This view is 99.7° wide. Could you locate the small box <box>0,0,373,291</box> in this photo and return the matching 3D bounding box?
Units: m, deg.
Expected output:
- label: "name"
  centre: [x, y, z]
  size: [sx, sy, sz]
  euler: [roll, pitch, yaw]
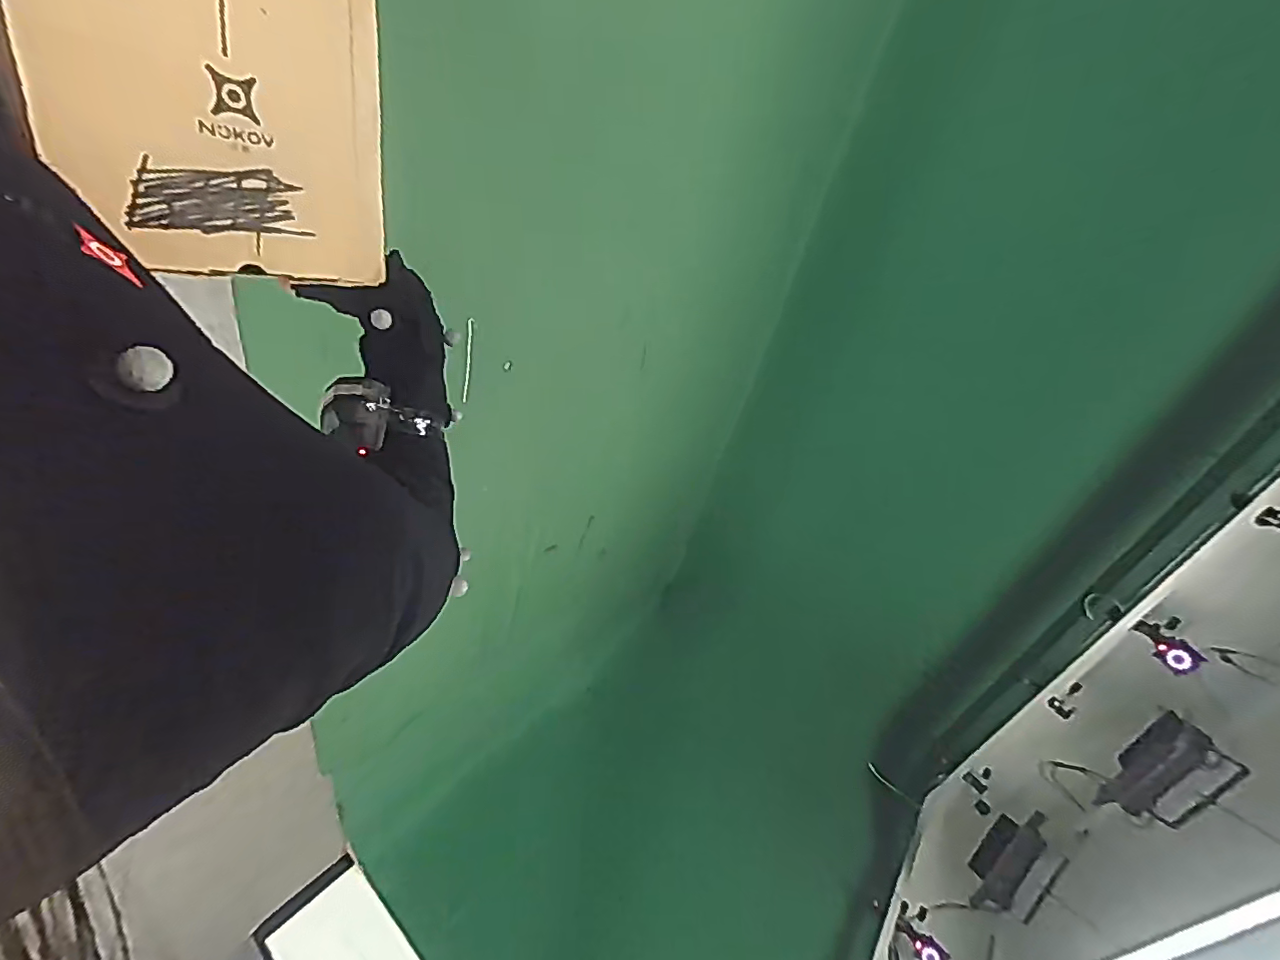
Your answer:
- label: "small box"
  centre: [-0.294, -0.232, 0.349]
  size: [0.168, 0.176, 0.179]
  euler: [-18, 125, -49]
